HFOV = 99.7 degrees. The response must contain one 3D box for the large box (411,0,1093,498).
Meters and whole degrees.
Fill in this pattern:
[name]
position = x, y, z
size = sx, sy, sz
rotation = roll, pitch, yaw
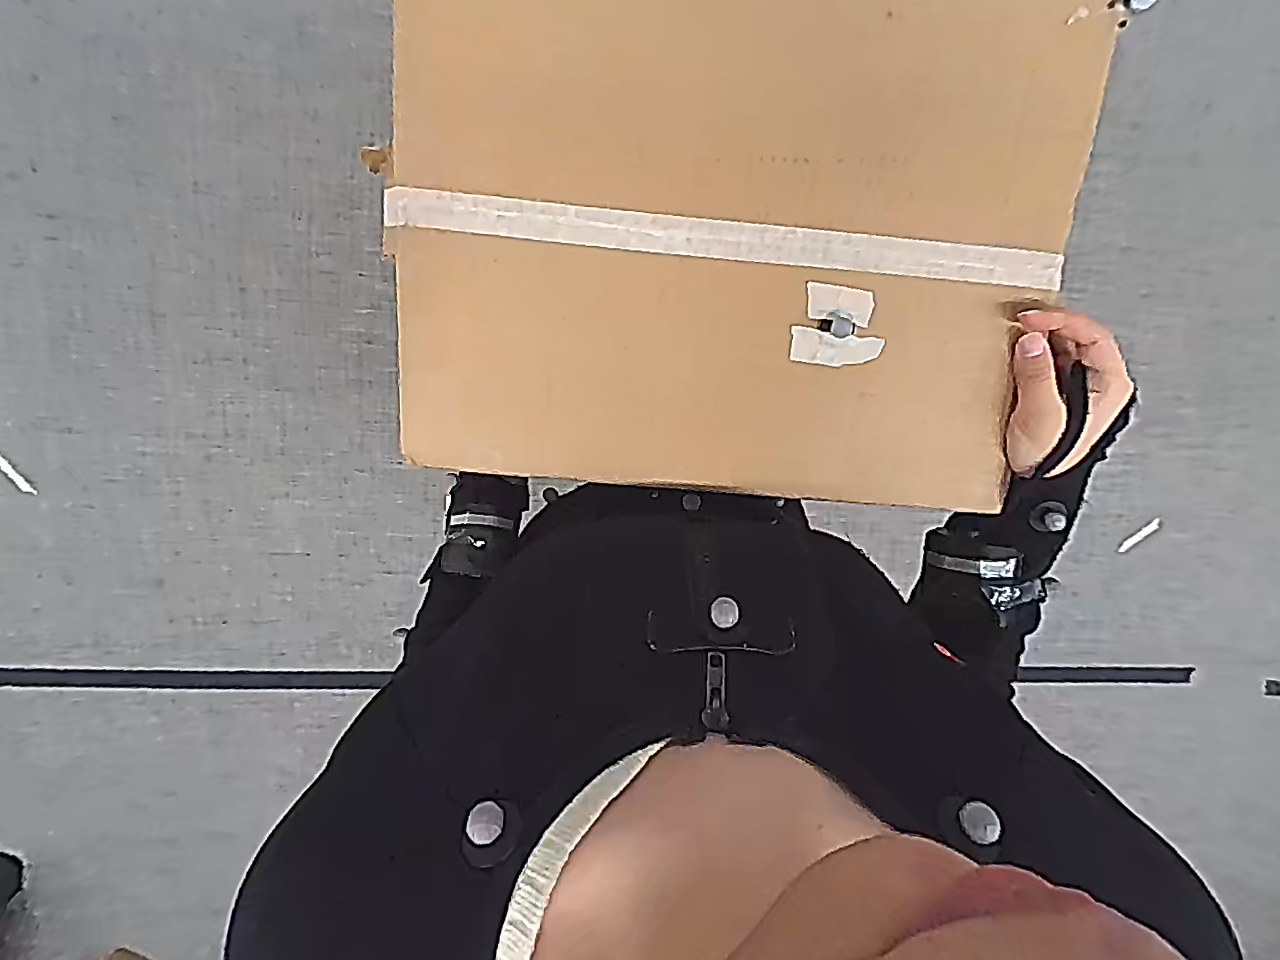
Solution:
[large box]
position = 0.053, -0.177, 0.482
size = 0.408, 0.320, 0.320
rotation = 4, 103, -4
